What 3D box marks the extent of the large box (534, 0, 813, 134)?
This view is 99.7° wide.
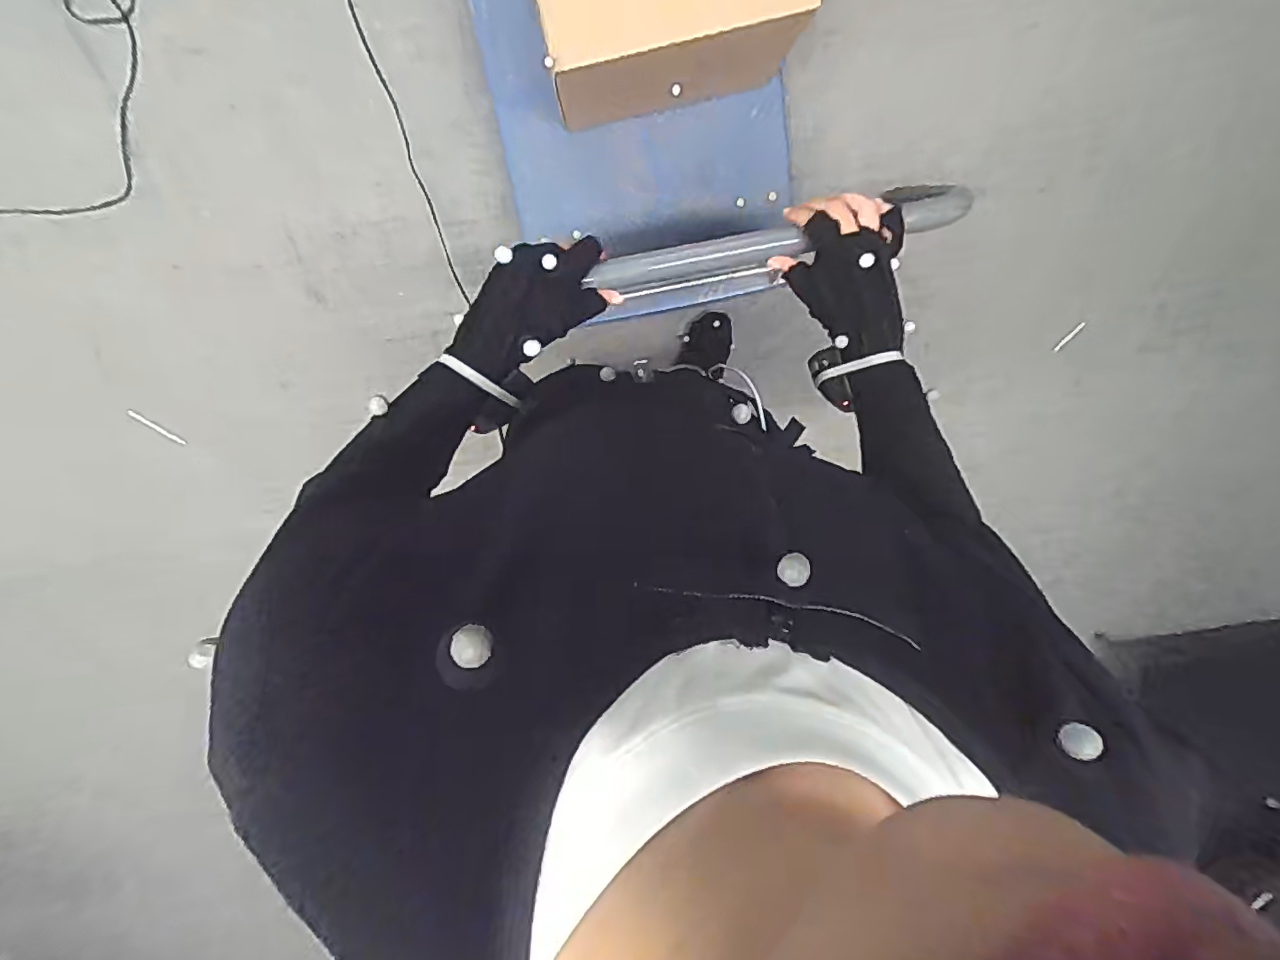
[{"bbox_3d":[0.026,-0.830,0.895,0.408,0.320,0.320,-13,108,2],"label":"large box"}]
